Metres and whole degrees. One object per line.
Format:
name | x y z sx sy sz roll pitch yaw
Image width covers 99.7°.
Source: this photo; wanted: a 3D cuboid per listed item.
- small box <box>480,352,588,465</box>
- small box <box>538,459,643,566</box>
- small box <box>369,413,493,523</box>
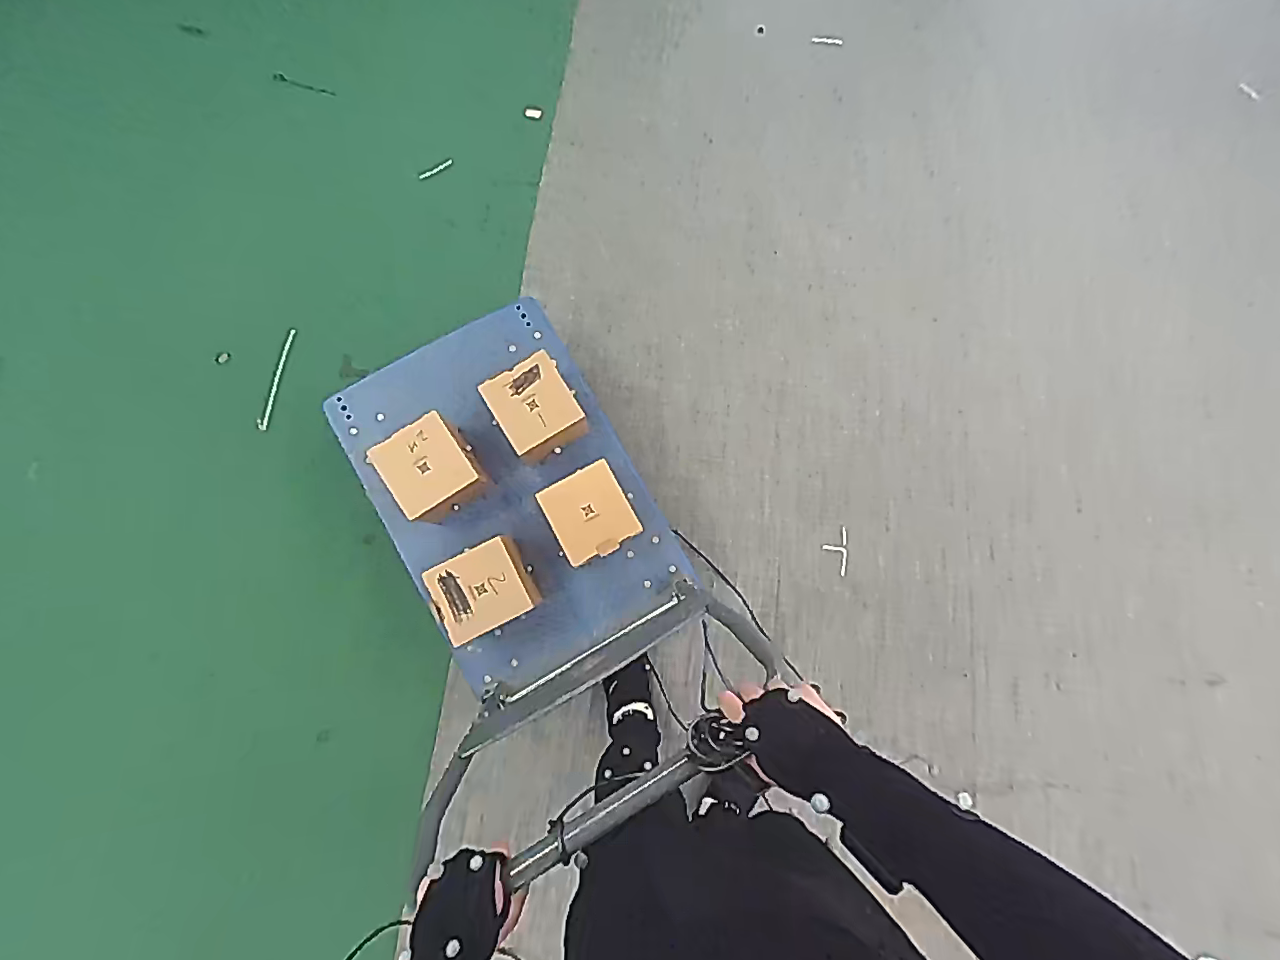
small box | -0.232 -0.153 1.222 0.168 0.176 0.179 -32 86 -6
small box | -0.109 0.078 1.200 0.168 0.176 0.179 -29 86 -6
small box | -0.449 -0.019 1.193 0.168 0.176 0.179 -33 86 -7
